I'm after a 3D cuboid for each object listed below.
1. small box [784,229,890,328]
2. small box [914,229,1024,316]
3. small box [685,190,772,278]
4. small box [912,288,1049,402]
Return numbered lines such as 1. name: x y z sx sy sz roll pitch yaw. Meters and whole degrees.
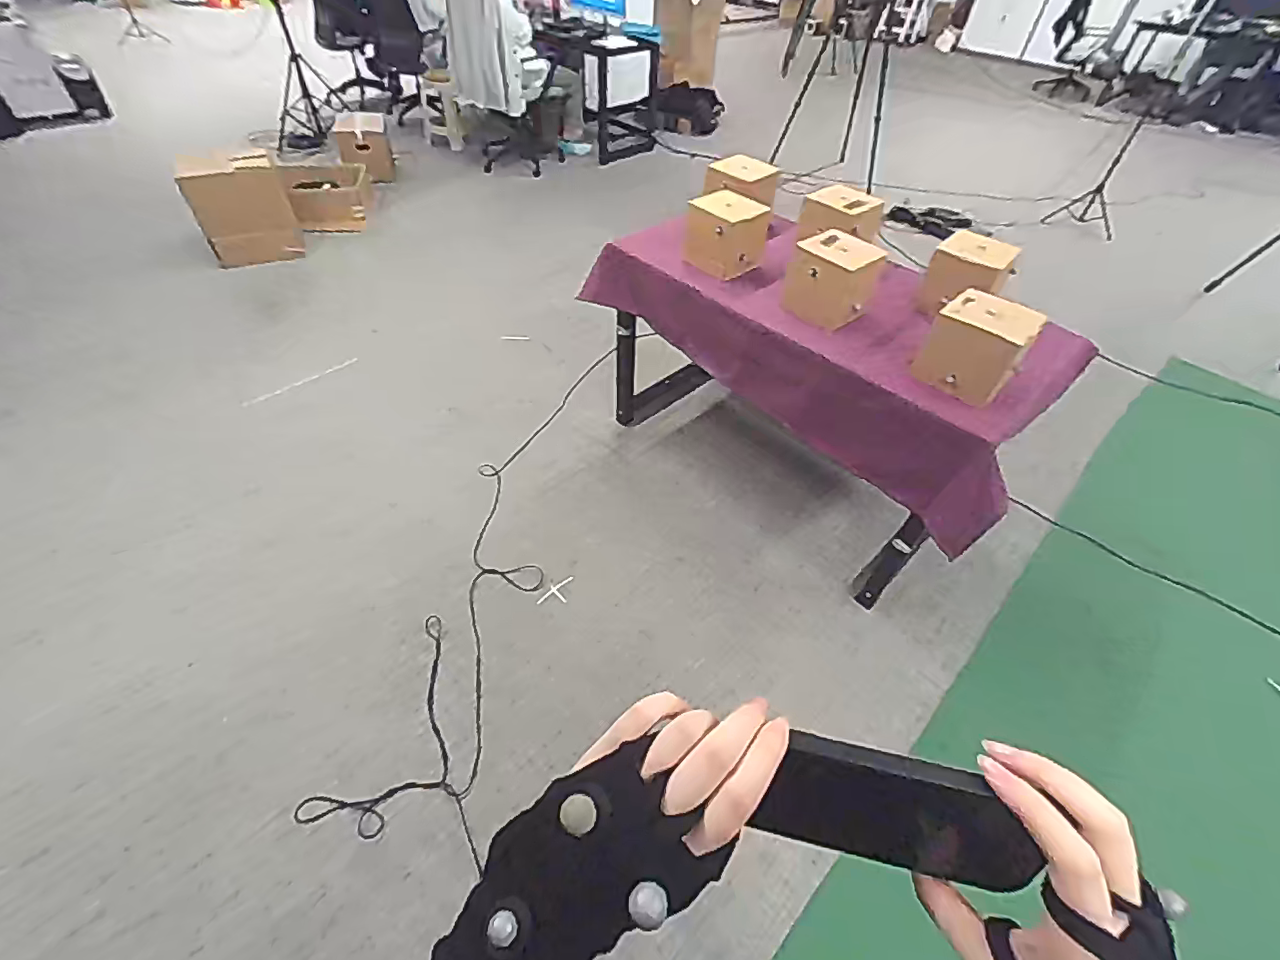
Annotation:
1. small box: 0.503 -0.524 1.409 0.168 0.176 0.179 -31 57 -27
2. small box: 0.867 -0.537 1.439 0.168 0.176 0.179 36 56 27
3. small box: 0.249 -0.711 1.567 0.168 0.176 0.179 -33 58 -29
4. small box: 0.756 -0.298 1.216 0.168 0.176 0.179 -35 58 -30
